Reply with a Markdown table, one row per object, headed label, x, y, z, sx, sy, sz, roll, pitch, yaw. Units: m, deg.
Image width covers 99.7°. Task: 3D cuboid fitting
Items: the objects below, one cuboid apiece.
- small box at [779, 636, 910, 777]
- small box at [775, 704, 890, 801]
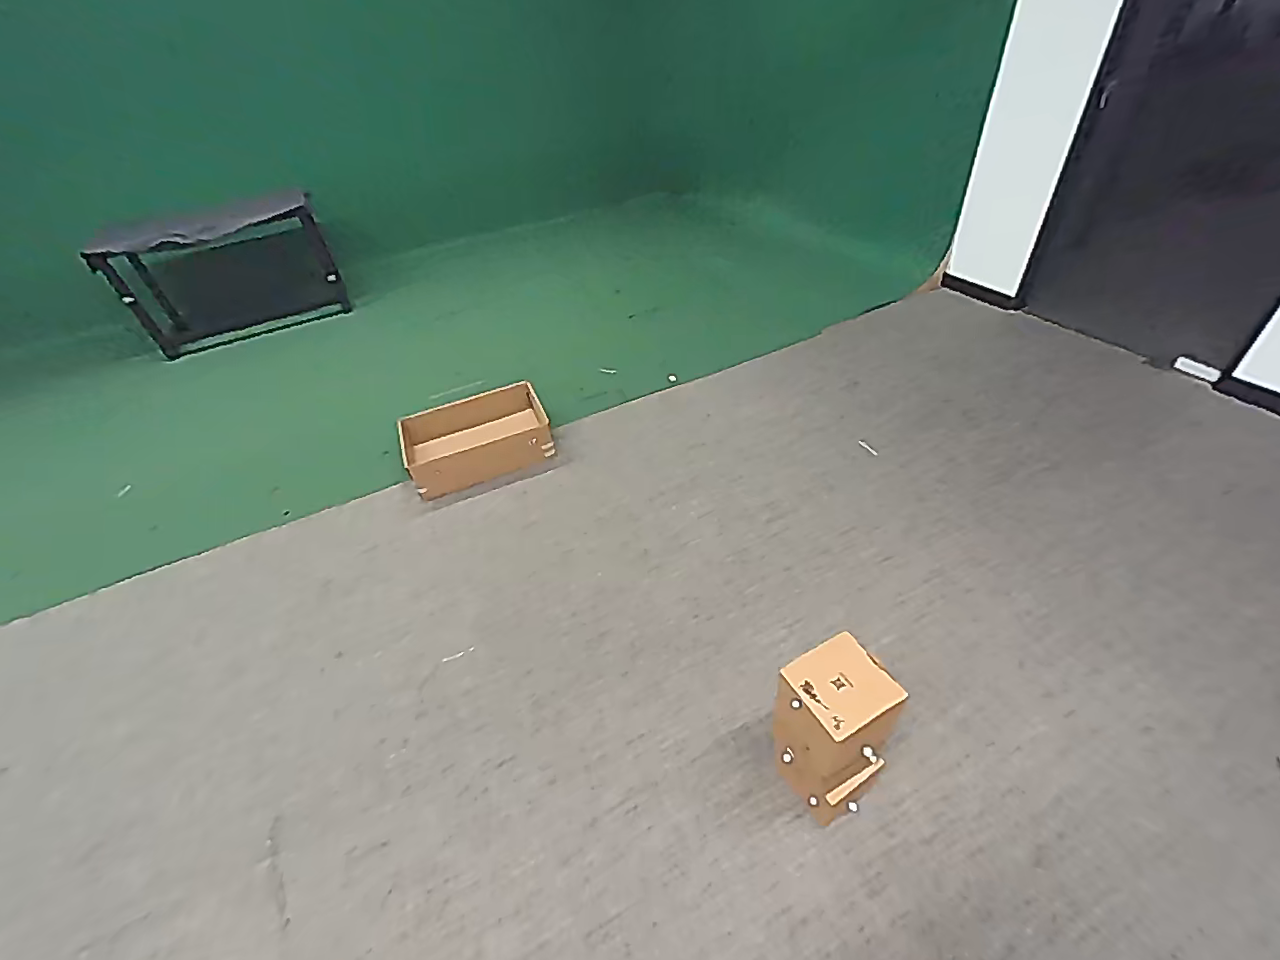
| label | x | y | z | sx | sy | sz | roll | pitch | yaw |
| --- | --- | --- | --- | --- | --- | --- | --- | --- | --- |
| small box | 0.399 | 0.456 | 1.089 | 0.179 | 0.176 | 0.168 | -22 | 43 | -17 |
| small box | 0.417 | 0.571 | 1.205 | 0.179 | 0.176 | 0.168 | -23 | 43 | -15 |
